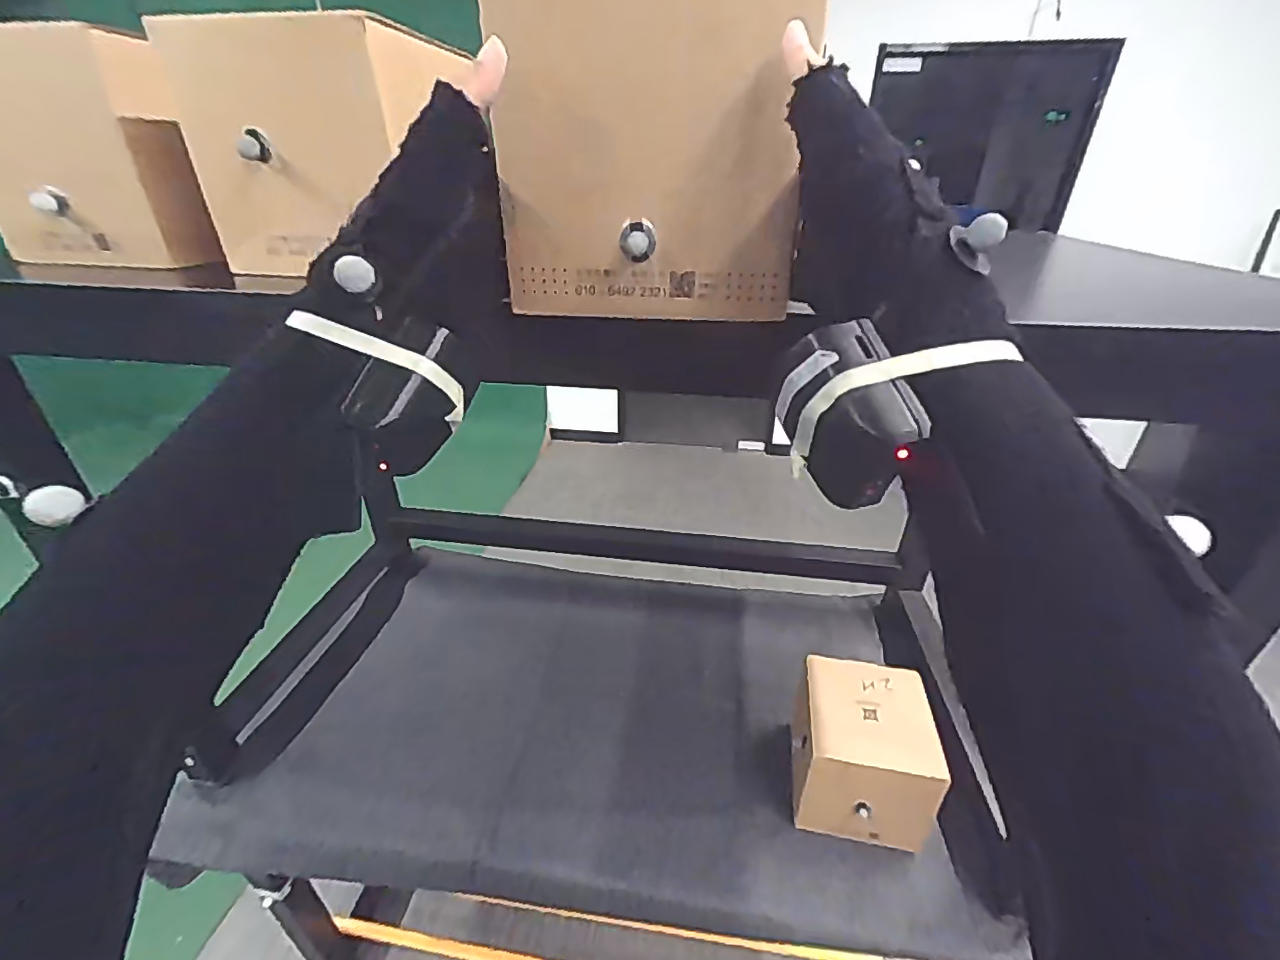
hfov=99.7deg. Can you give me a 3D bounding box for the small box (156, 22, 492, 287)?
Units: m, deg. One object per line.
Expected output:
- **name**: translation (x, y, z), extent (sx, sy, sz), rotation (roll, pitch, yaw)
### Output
- **small box**: translation (-0.244, -0.270, 0.474), extent (0.168, 0.176, 0.179), rotation (5, 29, 9)

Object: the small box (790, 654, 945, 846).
- **small box**: translation (0.316, 0.389, 0.786), extent (0.168, 0.176, 0.179), rotation (7, 29, 10)

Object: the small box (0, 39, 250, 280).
- **small box**: translation (-0.464, -0.297, 0.515), extent (0.168, 0.176, 0.179), rotation (5, 31, 8)
